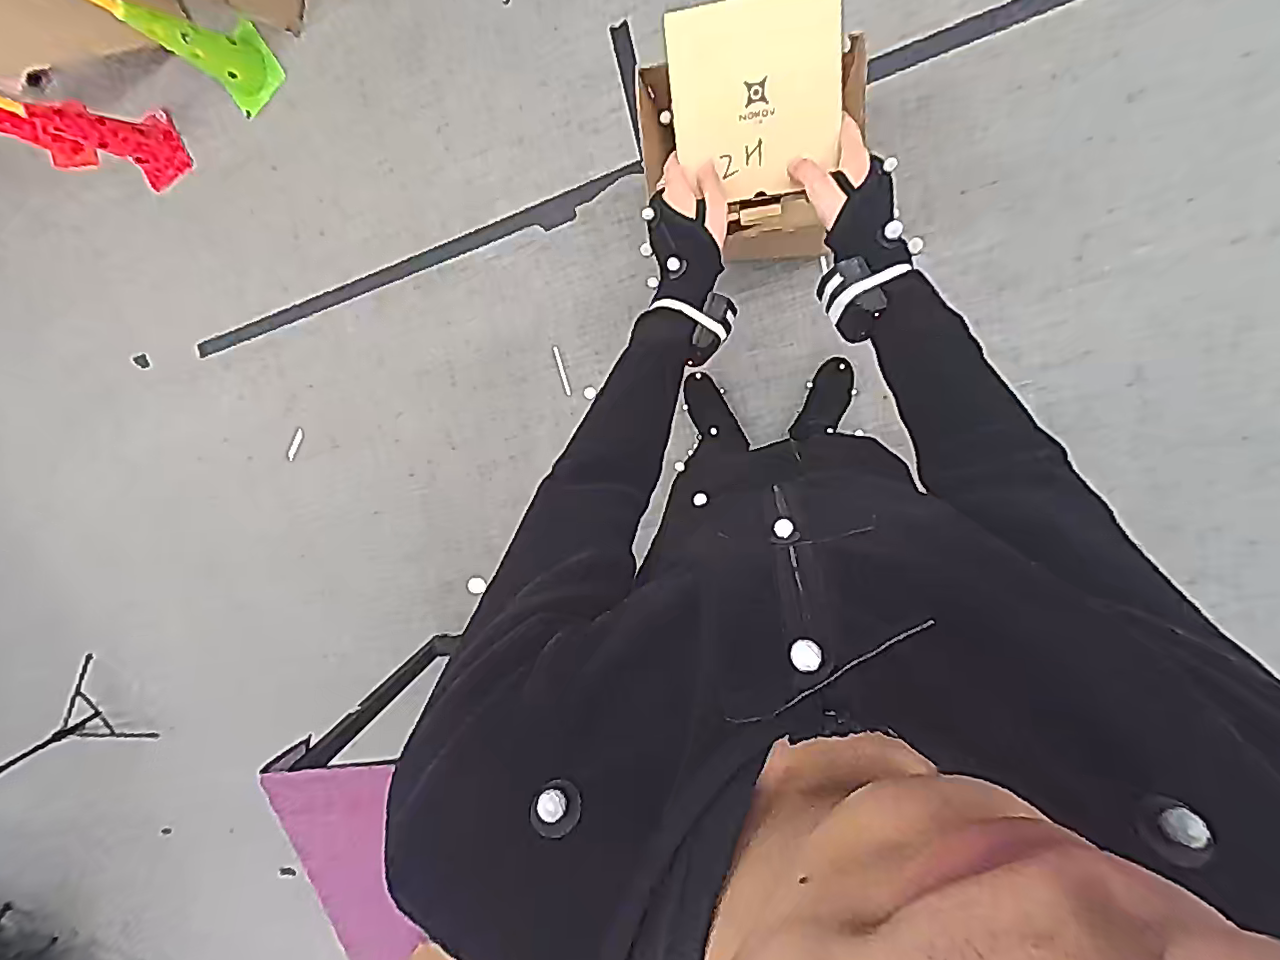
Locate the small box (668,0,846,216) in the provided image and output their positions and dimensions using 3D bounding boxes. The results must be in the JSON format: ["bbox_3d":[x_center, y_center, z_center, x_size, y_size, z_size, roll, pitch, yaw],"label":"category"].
[{"bbox_3d":[0.123,-0.403,0.600,0.168,0.176,0.179,-4,114,9],"label":"small box"}]
